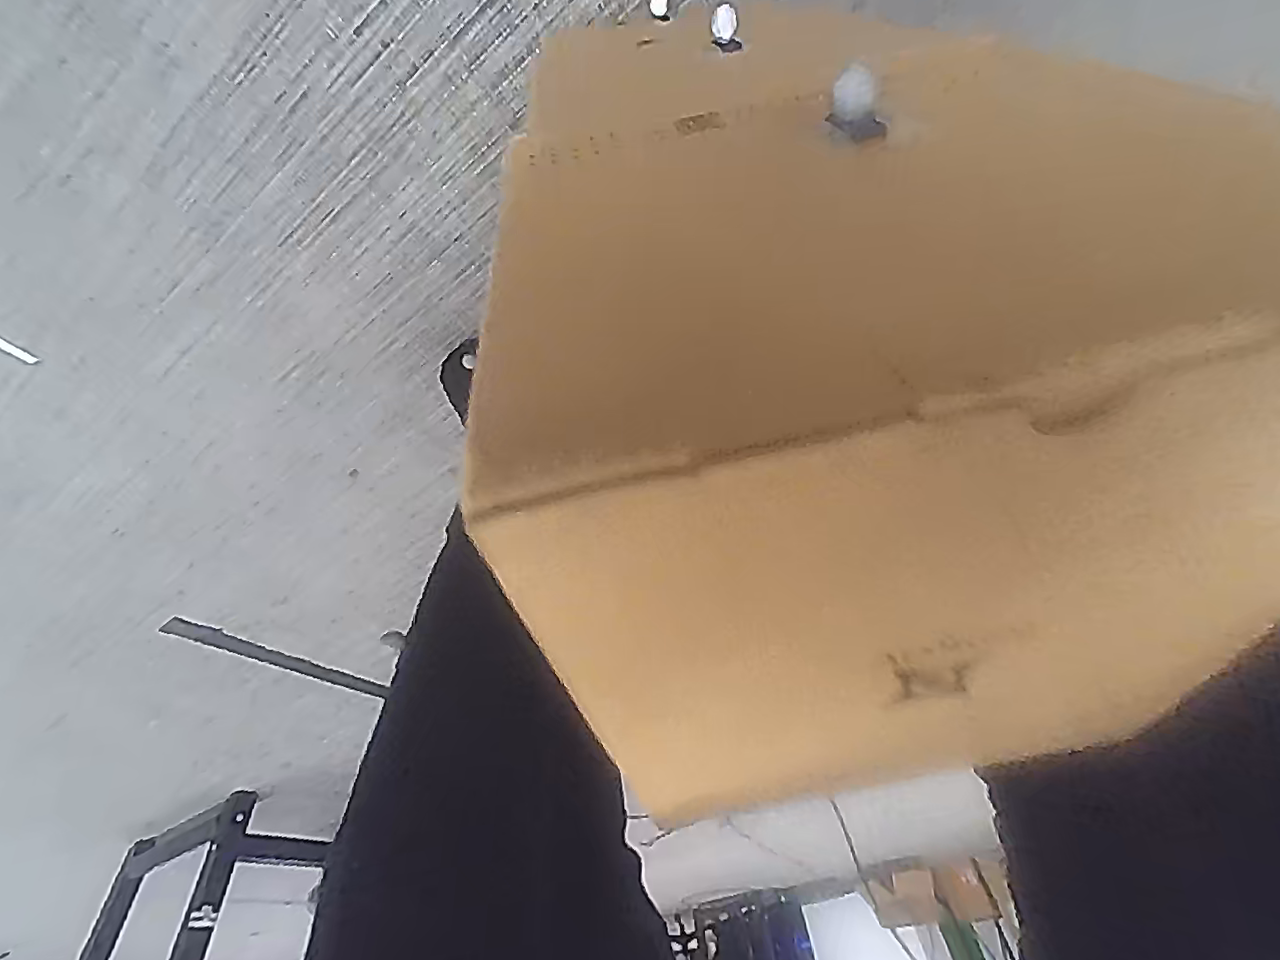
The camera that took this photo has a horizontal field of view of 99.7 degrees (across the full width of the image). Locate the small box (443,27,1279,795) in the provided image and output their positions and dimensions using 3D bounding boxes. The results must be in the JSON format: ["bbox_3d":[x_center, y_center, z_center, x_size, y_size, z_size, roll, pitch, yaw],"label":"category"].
[{"bbox_3d":[0.057,-0.018,0.184,0.168,0.176,0.179,-11,136,2],"label":"small box"}]

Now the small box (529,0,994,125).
[{"bbox_3d":[0.038,-0.137,0.295,0.168,0.176,0.179,-9,137,-1],"label":"small box"}]
